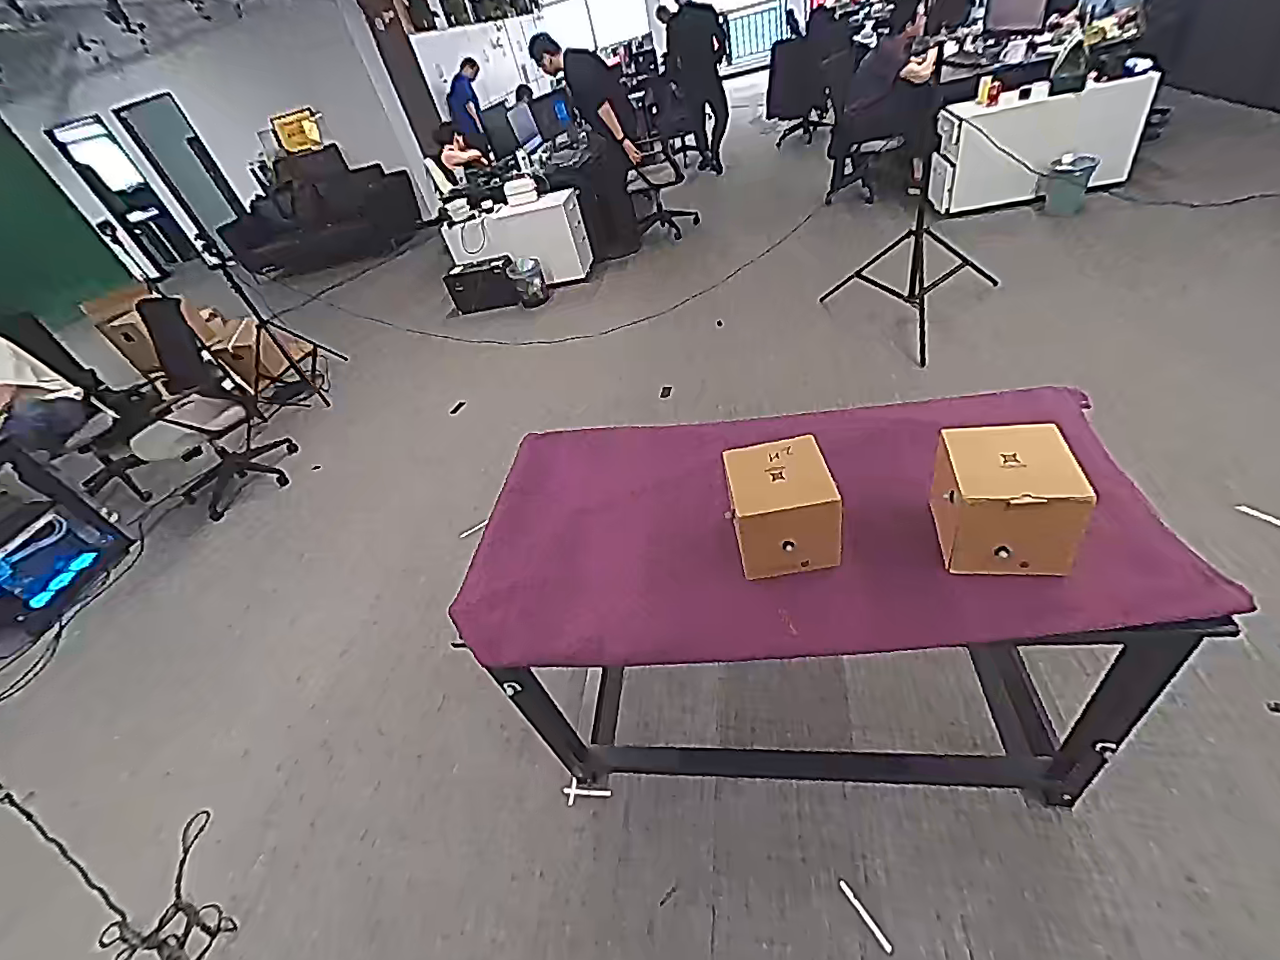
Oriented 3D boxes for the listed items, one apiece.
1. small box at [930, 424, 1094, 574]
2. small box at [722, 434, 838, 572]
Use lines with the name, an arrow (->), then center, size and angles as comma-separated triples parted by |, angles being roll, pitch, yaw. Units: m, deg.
small box -> 0.582, 0.029, 0.875 | 0.168, 0.176, 0.179 | -2, 41, 18
small box -> 0.250, 0.048, 0.970 | 0.168, 0.176, 0.179 | -10, 40, 7
